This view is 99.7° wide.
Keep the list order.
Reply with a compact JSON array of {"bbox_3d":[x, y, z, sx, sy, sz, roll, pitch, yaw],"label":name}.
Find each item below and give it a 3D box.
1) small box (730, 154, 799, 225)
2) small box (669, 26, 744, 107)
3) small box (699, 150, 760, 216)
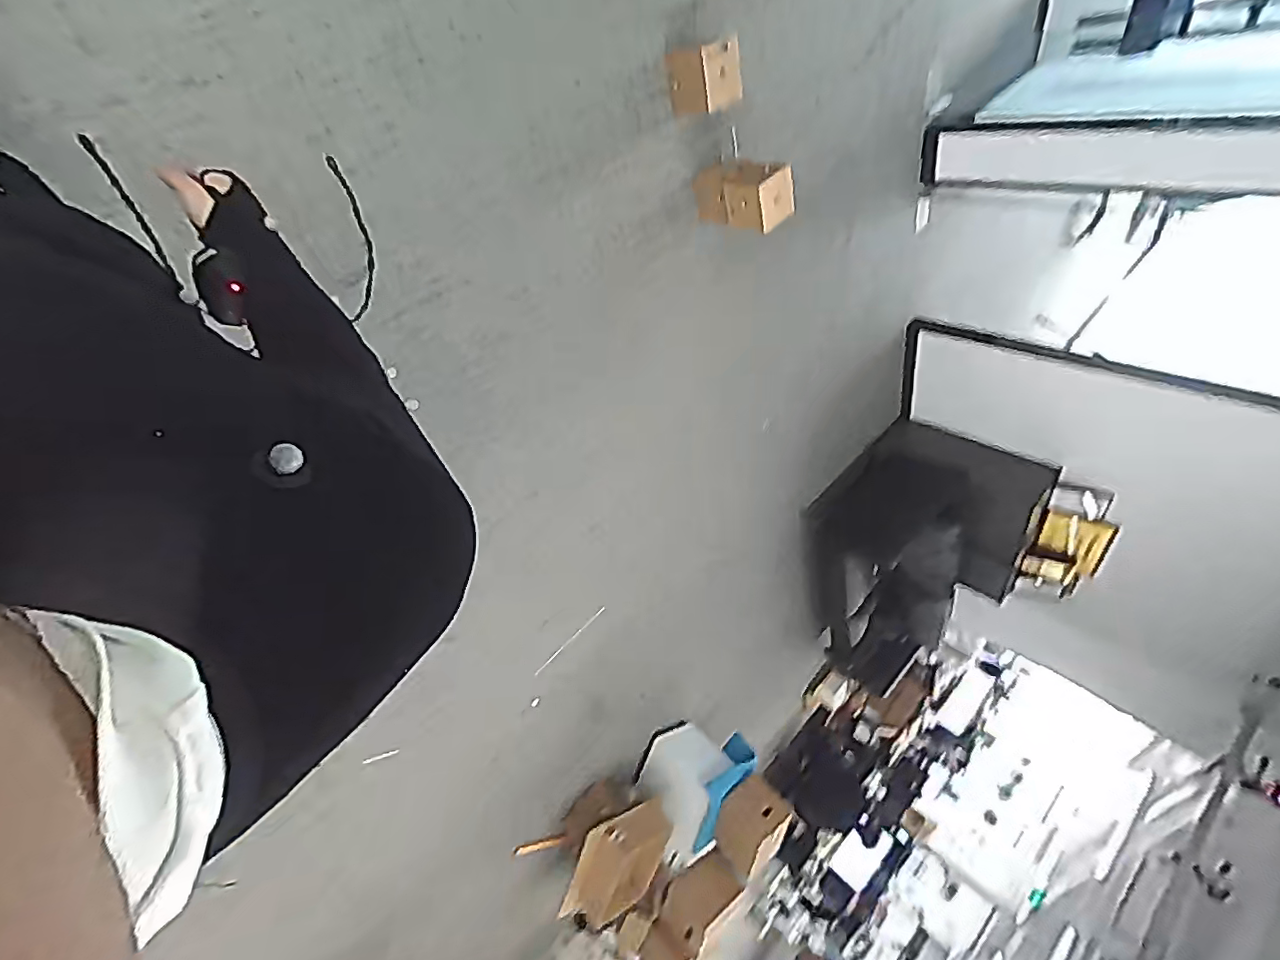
[{"bbox_3d":[0.435,-1.032,1.918,0.179,0.176,0.168,-43,137,-17],"label":"small box"},{"bbox_3d":[0.216,-1.342,1.758,0.168,0.176,0.179,-39,136,-21],"label":"small box"},{"bbox_3d":[0.340,-1.110,2.024,0.168,0.176,0.179,-40,137,-20],"label":"small box"}]
